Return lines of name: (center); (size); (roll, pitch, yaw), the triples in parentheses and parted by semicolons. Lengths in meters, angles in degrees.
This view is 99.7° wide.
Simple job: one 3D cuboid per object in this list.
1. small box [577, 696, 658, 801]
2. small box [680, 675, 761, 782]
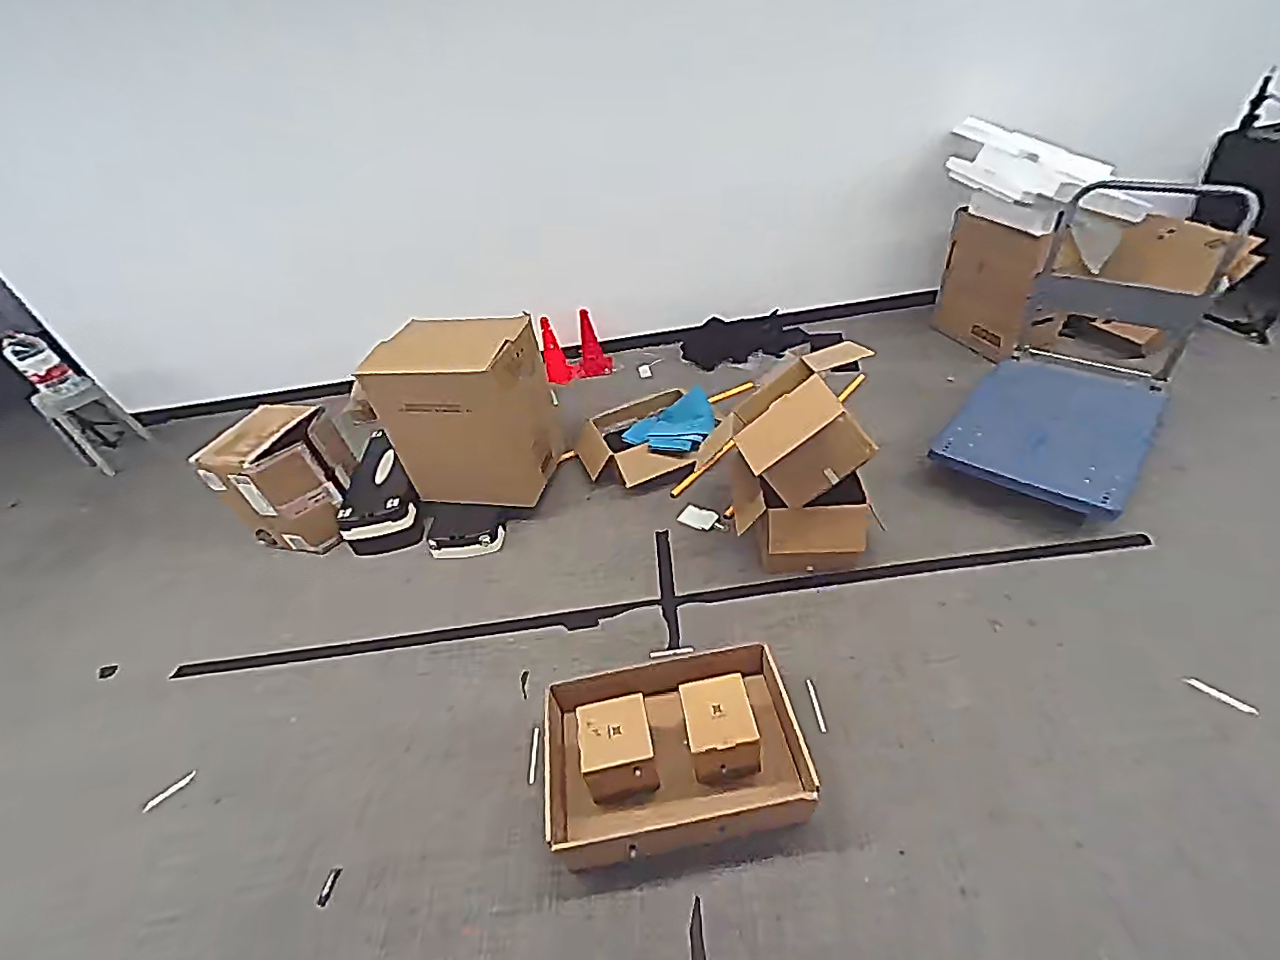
small box: (-0.054, 0.678, 1.364); (0.179, 0.176, 0.168); (-11, 39, -3)
small box: (0.201, 0.630, 1.371); (0.168, 0.176, 0.179); (-12, 40, -1)
